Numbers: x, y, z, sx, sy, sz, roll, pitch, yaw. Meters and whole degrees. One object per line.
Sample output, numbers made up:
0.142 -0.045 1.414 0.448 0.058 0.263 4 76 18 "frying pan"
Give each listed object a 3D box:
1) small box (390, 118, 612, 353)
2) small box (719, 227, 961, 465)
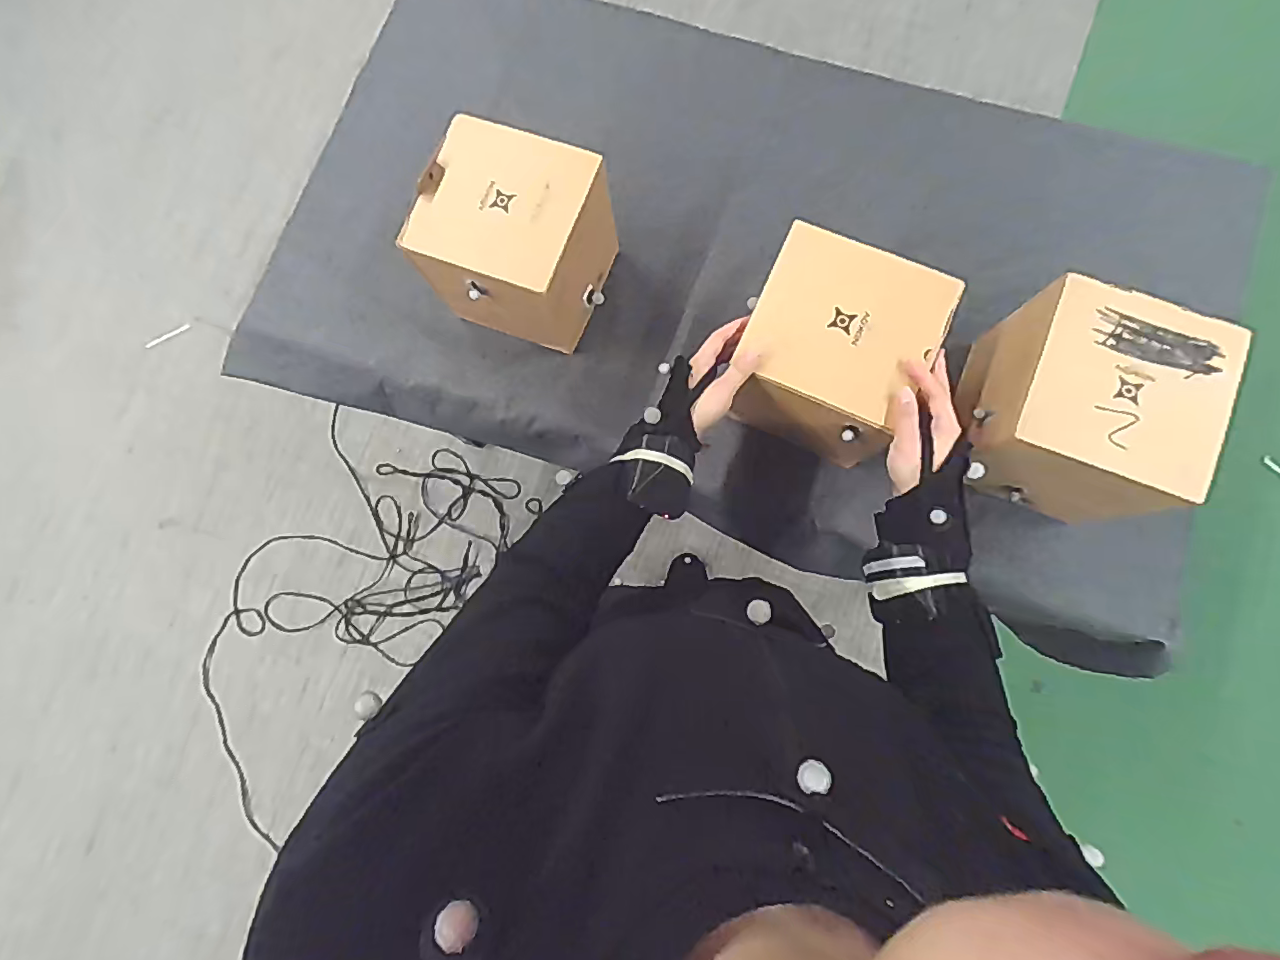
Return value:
-0.146 -0.271 0.636 0.179 0.176 0.168 20 82 6 "small box"
0.197 -0.130 0.589 0.179 0.176 0.168 24 83 7 "small box"
